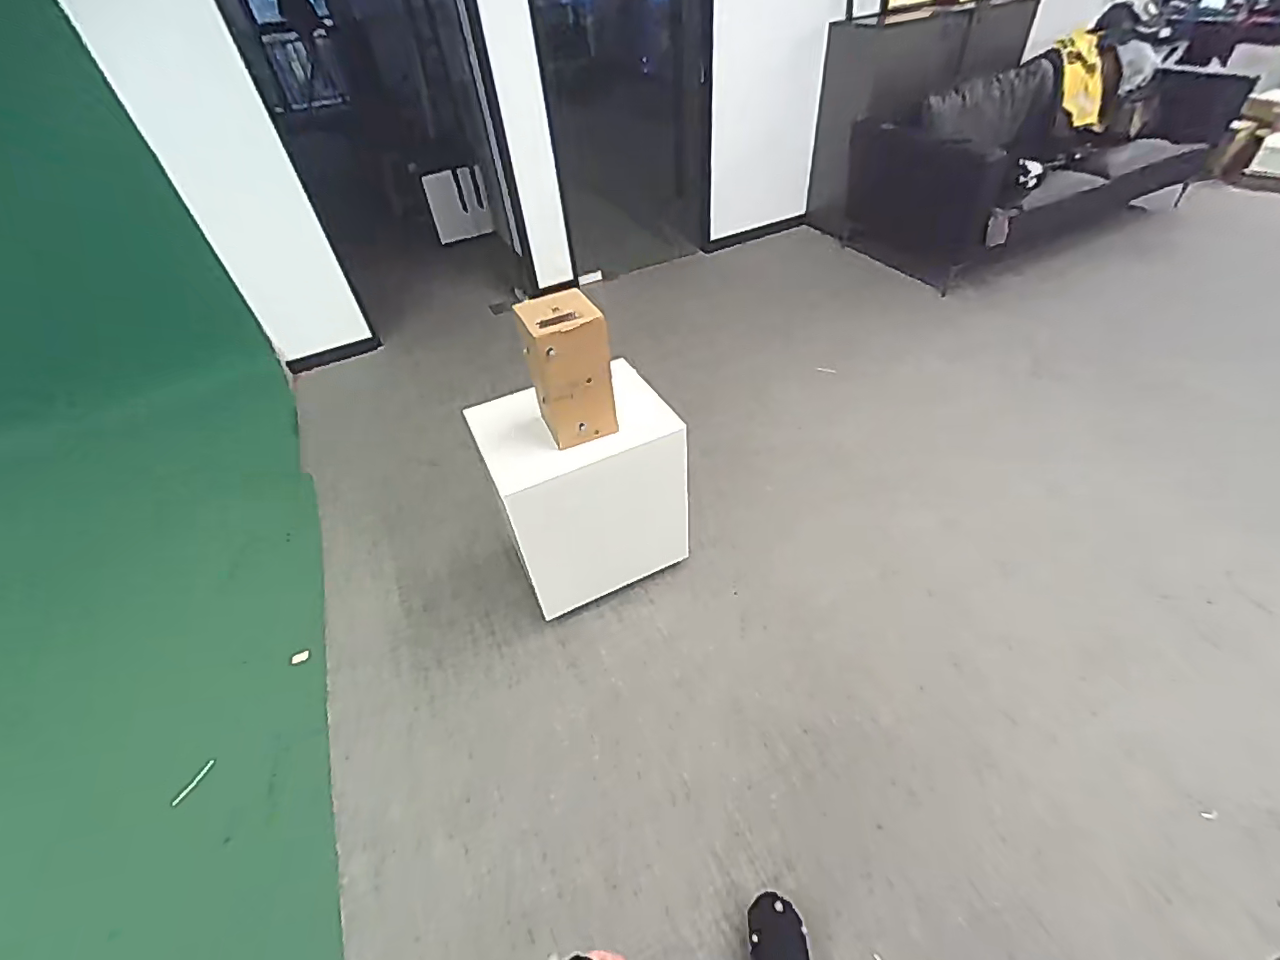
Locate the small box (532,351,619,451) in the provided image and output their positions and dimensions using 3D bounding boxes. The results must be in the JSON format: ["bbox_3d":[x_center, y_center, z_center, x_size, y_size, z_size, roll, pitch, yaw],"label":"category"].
[{"bbox_3d":[-0.165,-0.204,1.396,0.168,0.176,0.179,-20,45,-14],"label":"small box"}]
